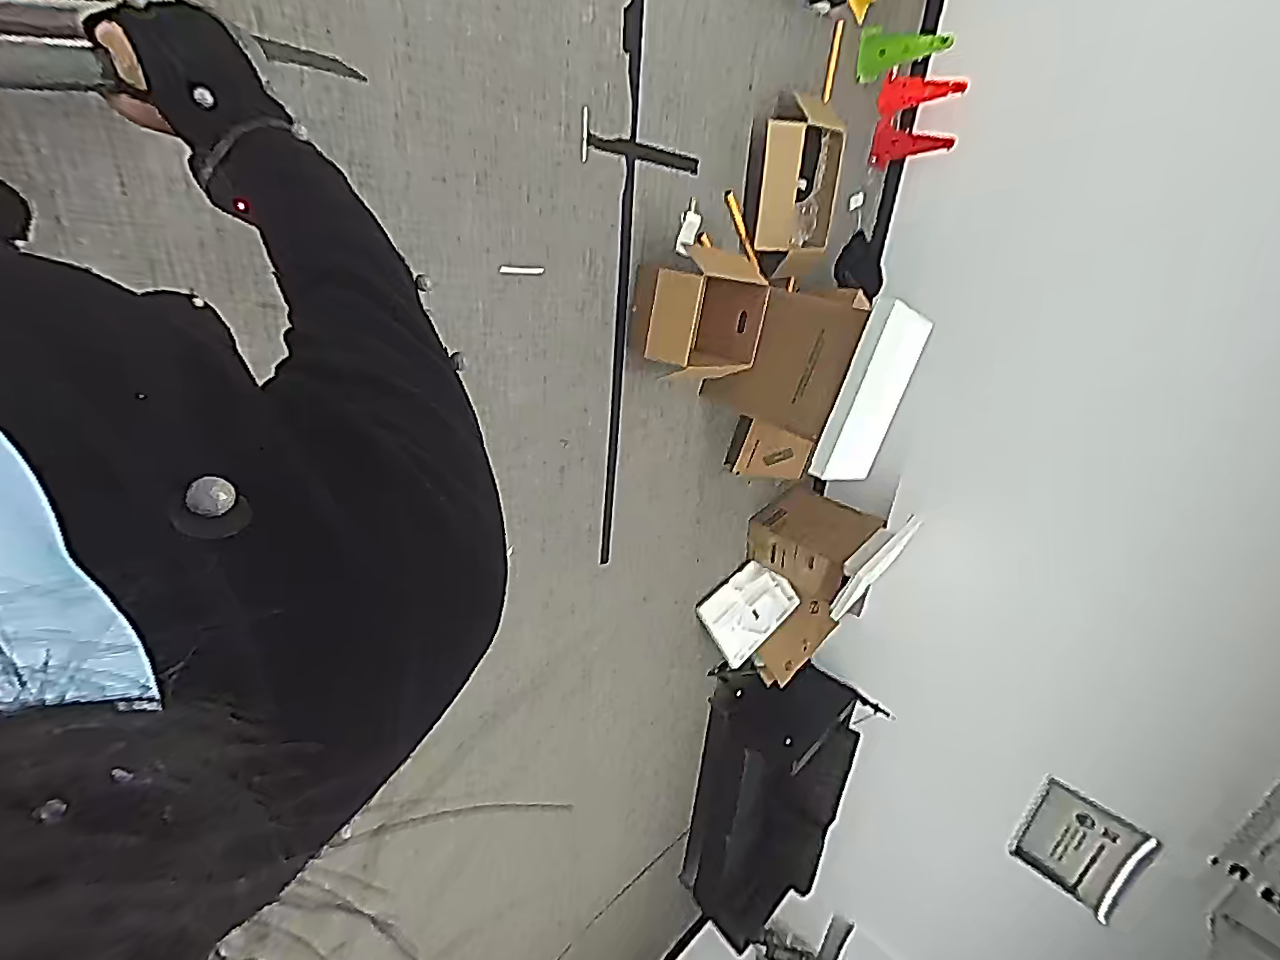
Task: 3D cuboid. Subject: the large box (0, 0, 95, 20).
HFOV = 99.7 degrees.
[{"bbox_3d":[-0.878,-0.684,0.530,0.408,0.320,0.320,-30,134,-37],"label":"large box"}]
